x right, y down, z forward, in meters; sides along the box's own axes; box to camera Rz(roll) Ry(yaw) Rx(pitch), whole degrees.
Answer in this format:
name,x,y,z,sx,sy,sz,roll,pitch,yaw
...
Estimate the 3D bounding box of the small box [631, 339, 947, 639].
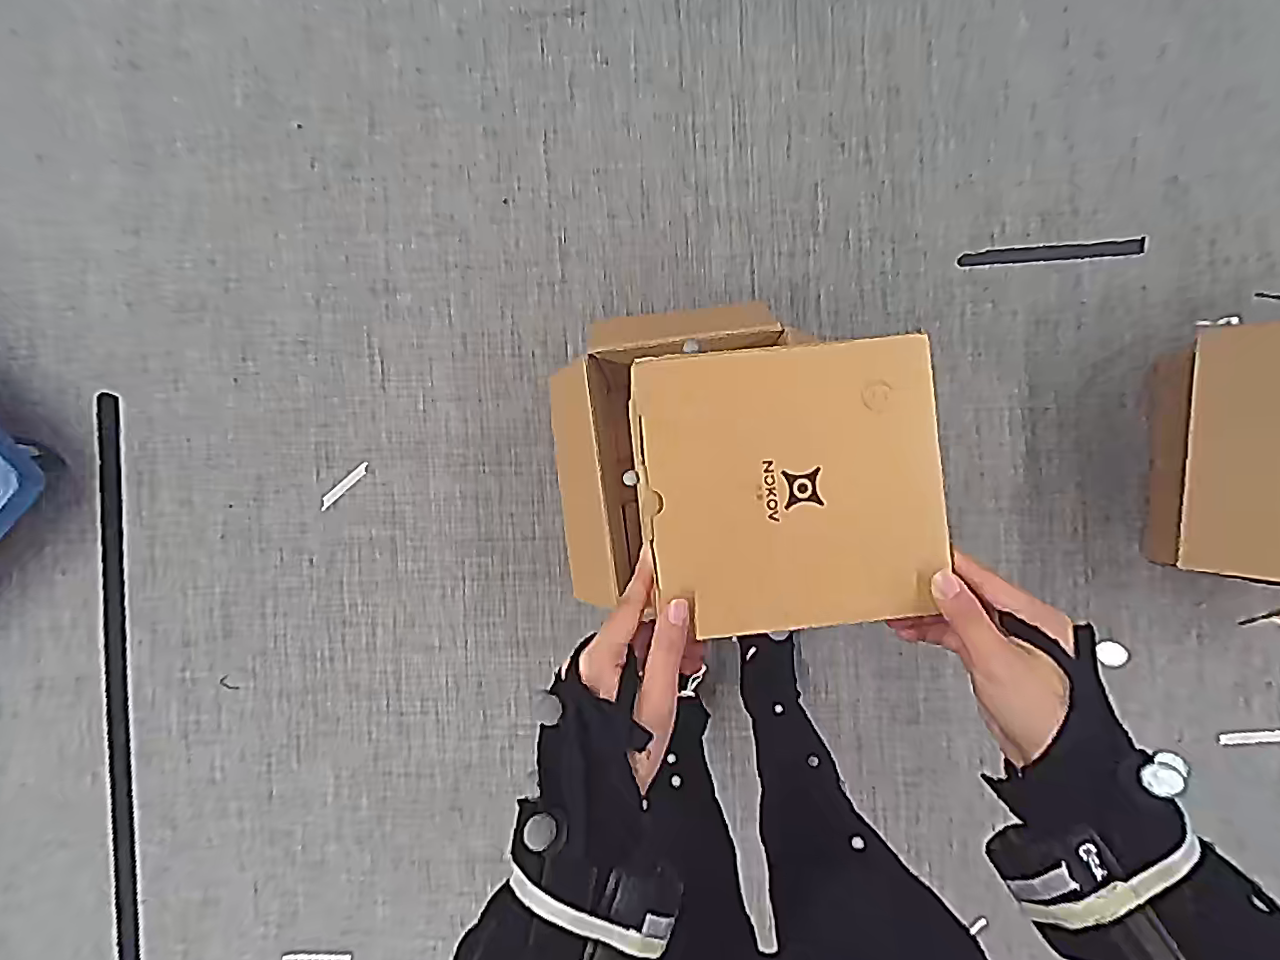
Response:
name,x,y,z,sx,sy,sz,roll,pitch,yaw
small box,0.087,0.004,0.396,0.179,0.176,0.168,-6,90,0
